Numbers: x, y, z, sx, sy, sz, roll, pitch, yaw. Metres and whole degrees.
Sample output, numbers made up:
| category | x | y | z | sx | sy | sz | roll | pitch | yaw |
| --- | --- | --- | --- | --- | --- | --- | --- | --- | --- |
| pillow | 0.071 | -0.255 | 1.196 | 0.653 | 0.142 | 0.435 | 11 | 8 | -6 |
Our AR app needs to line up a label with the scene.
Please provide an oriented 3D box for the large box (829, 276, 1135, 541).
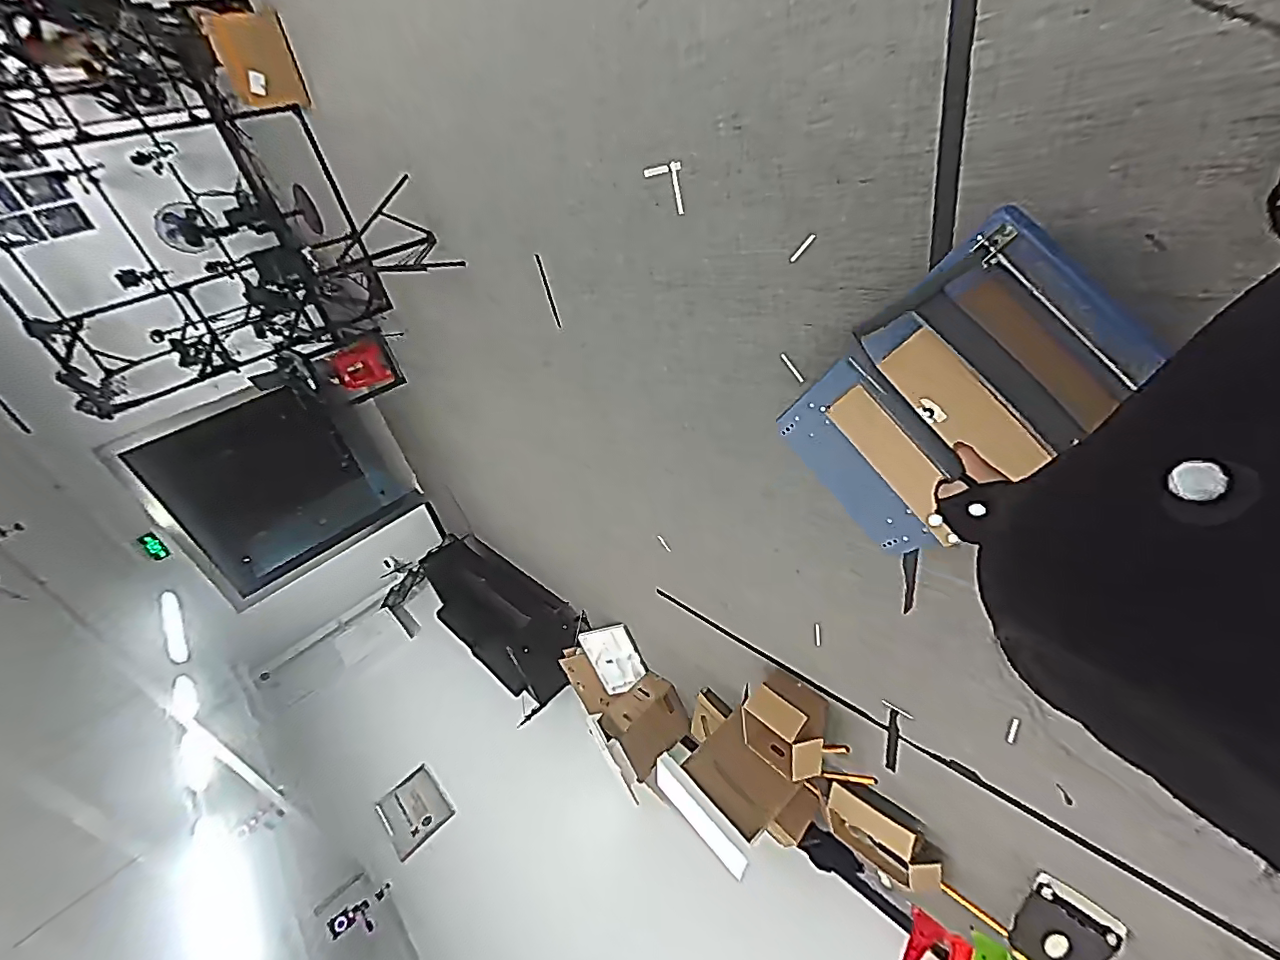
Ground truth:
| category | x | y | z | sx | sy | sz | roll | pitch | yaw |
| --- | --- | --- | --- | --- | --- | --- | --- | --- | --- |
| large box | 0.711 | -0.147 | 1.157 | 0.408 | 0.320 | 0.320 | 51 | 150 | 8 |
